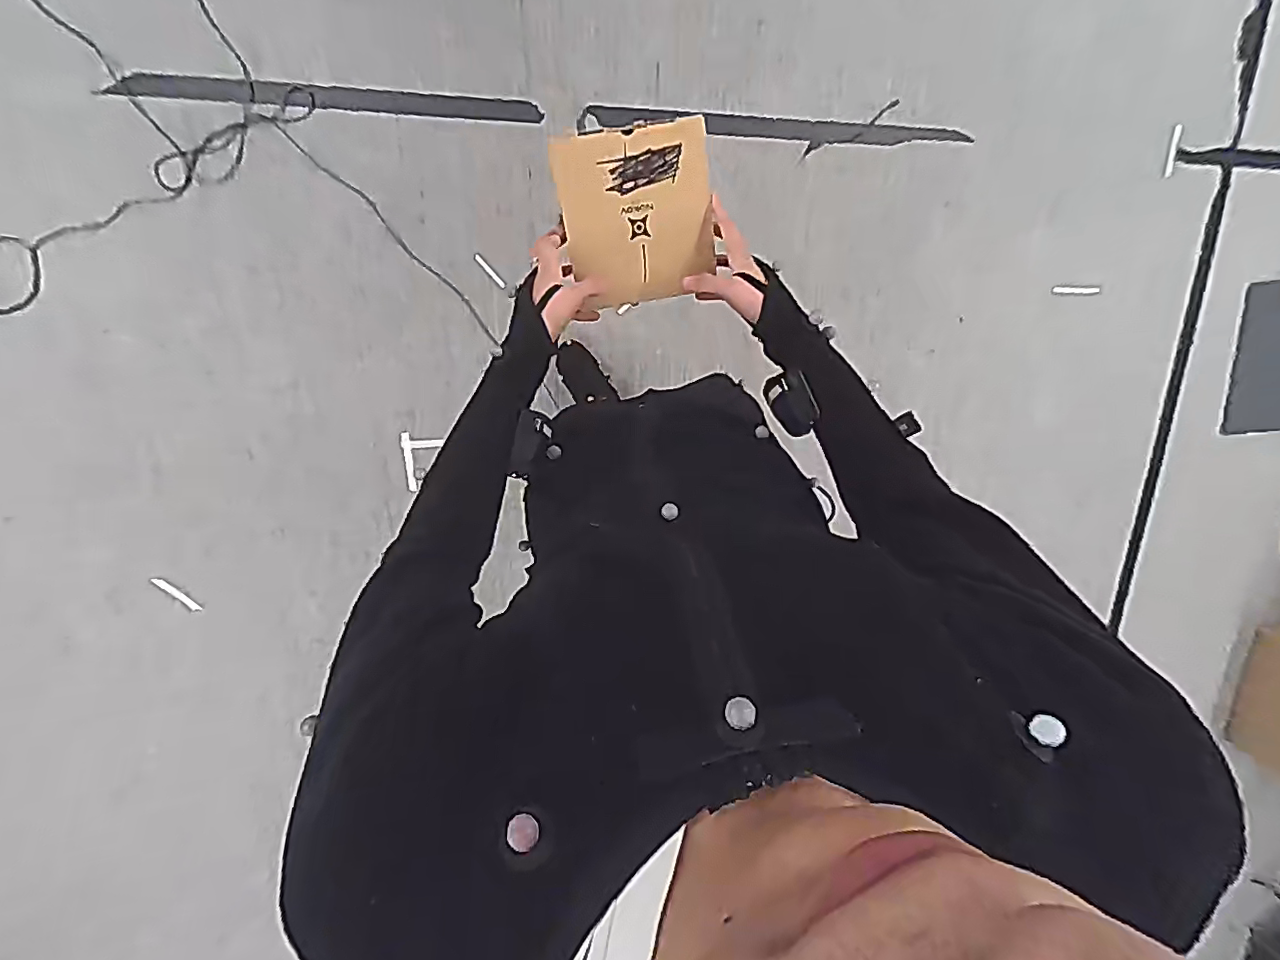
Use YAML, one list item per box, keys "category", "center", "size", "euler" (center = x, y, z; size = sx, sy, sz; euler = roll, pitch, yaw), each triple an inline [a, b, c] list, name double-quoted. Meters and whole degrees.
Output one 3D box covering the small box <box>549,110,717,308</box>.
- category: "small box"
  center: [-0.013, -0.316, 0.652]
  size: [0.168, 0.176, 0.179]
  euler: [-11, 115, -3]
